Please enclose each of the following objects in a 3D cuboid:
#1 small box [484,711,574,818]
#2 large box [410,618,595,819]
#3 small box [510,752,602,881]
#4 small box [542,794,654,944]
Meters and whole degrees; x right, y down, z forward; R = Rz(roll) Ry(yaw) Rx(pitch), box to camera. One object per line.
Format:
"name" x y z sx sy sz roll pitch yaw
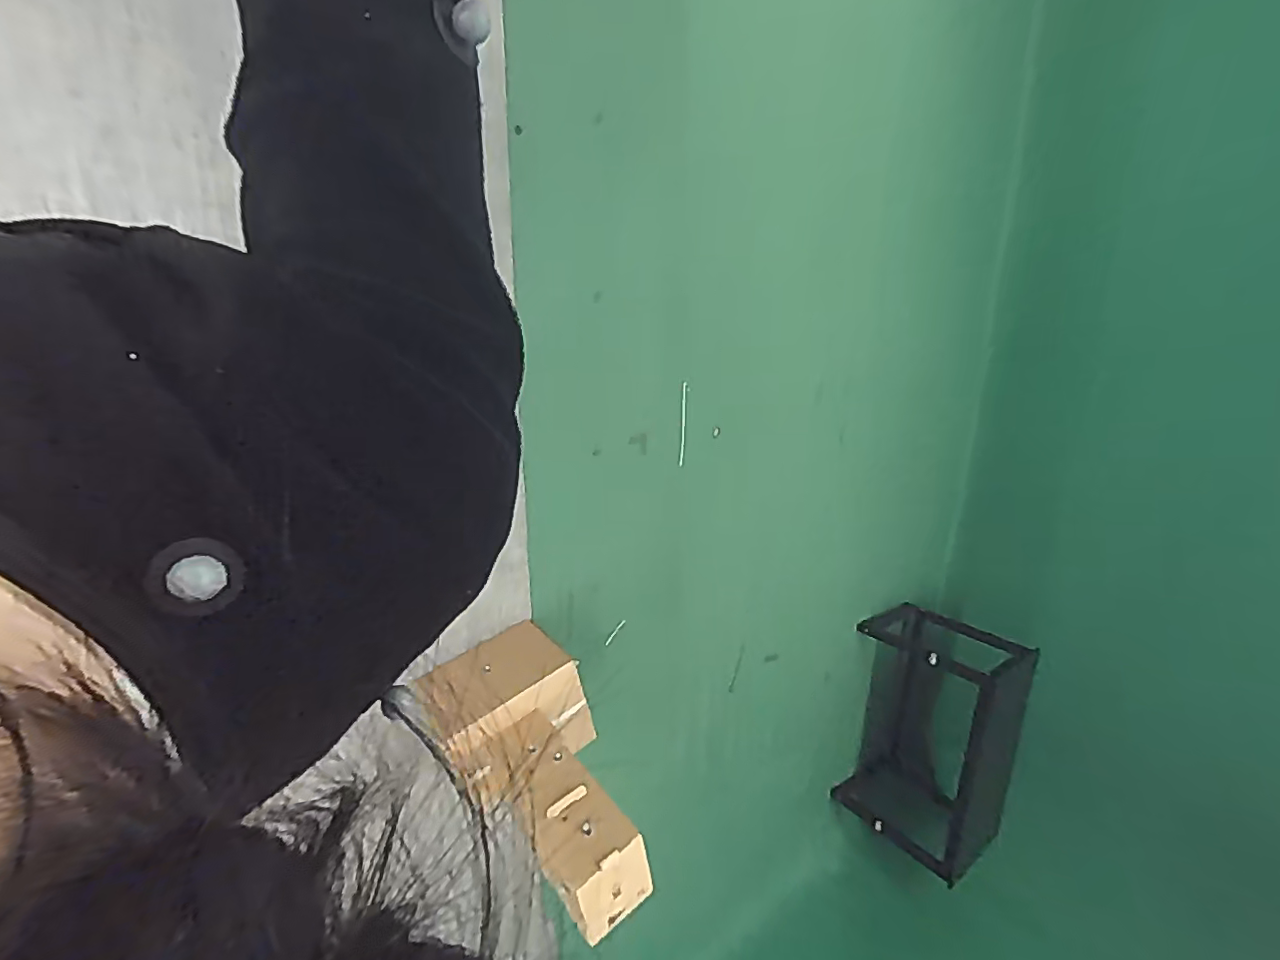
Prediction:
"small box" -0.286 0.750 1.429 0.179 0.176 0.168 -22 113 -31
"large box" -0.411 0.690 1.632 0.408 0.320 0.320 -26 117 -31
"small box" -0.195 0.790 1.298 0.168 0.176 0.179 -20 112 -32
"small box" -0.094 0.823 1.173 0.168 0.176 0.179 -21 112 -31
